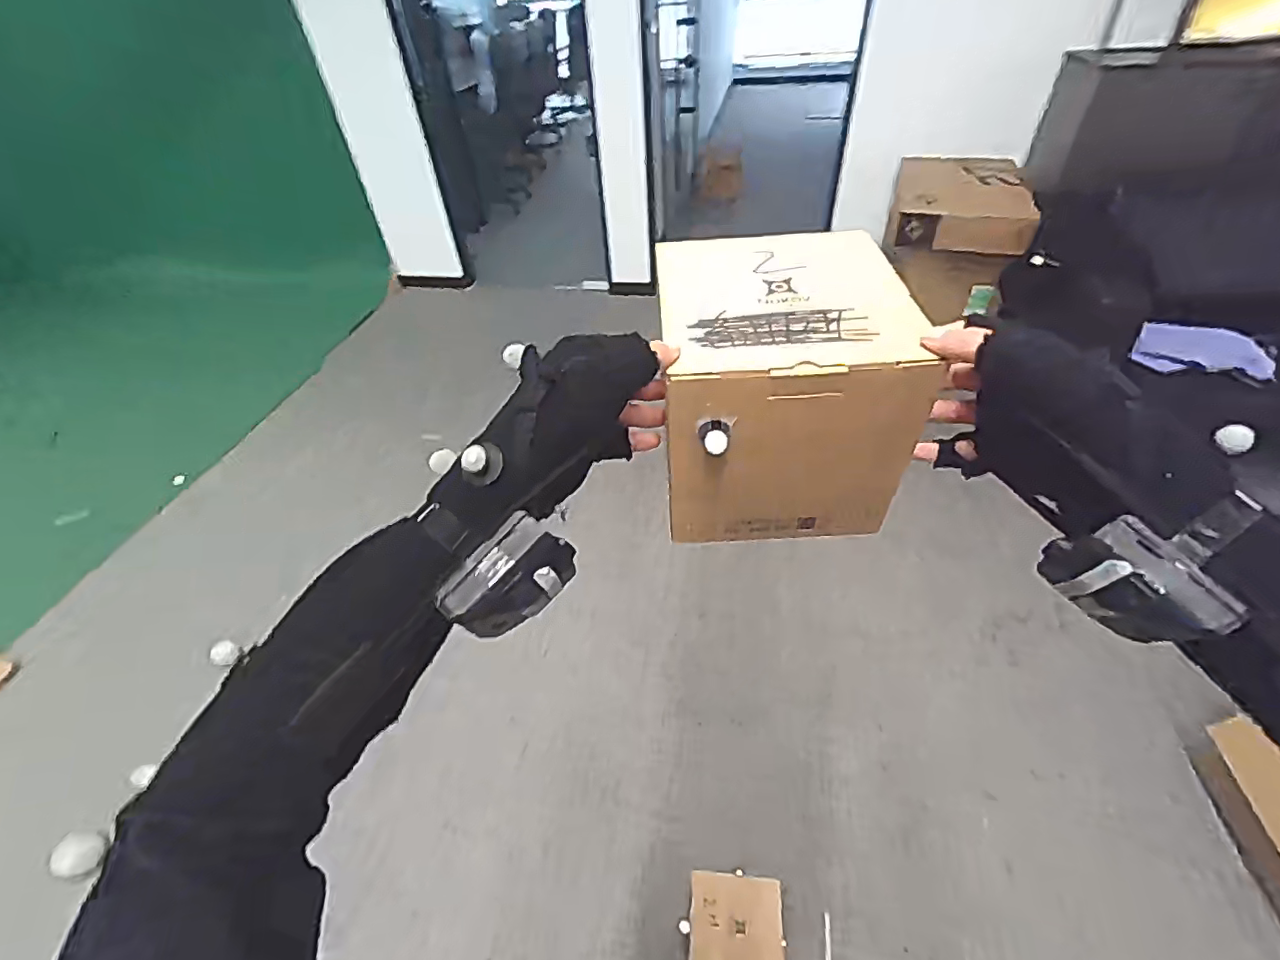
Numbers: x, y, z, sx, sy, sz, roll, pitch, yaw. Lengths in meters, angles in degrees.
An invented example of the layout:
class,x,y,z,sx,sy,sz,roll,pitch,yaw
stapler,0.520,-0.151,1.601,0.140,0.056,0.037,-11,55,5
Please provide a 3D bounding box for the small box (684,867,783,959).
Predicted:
class,x,y,z,sx,sy,sz,roll,pitch,yaw
small box,0.181,0.894,1.072,0.179,0.176,0.168,3,44,7
